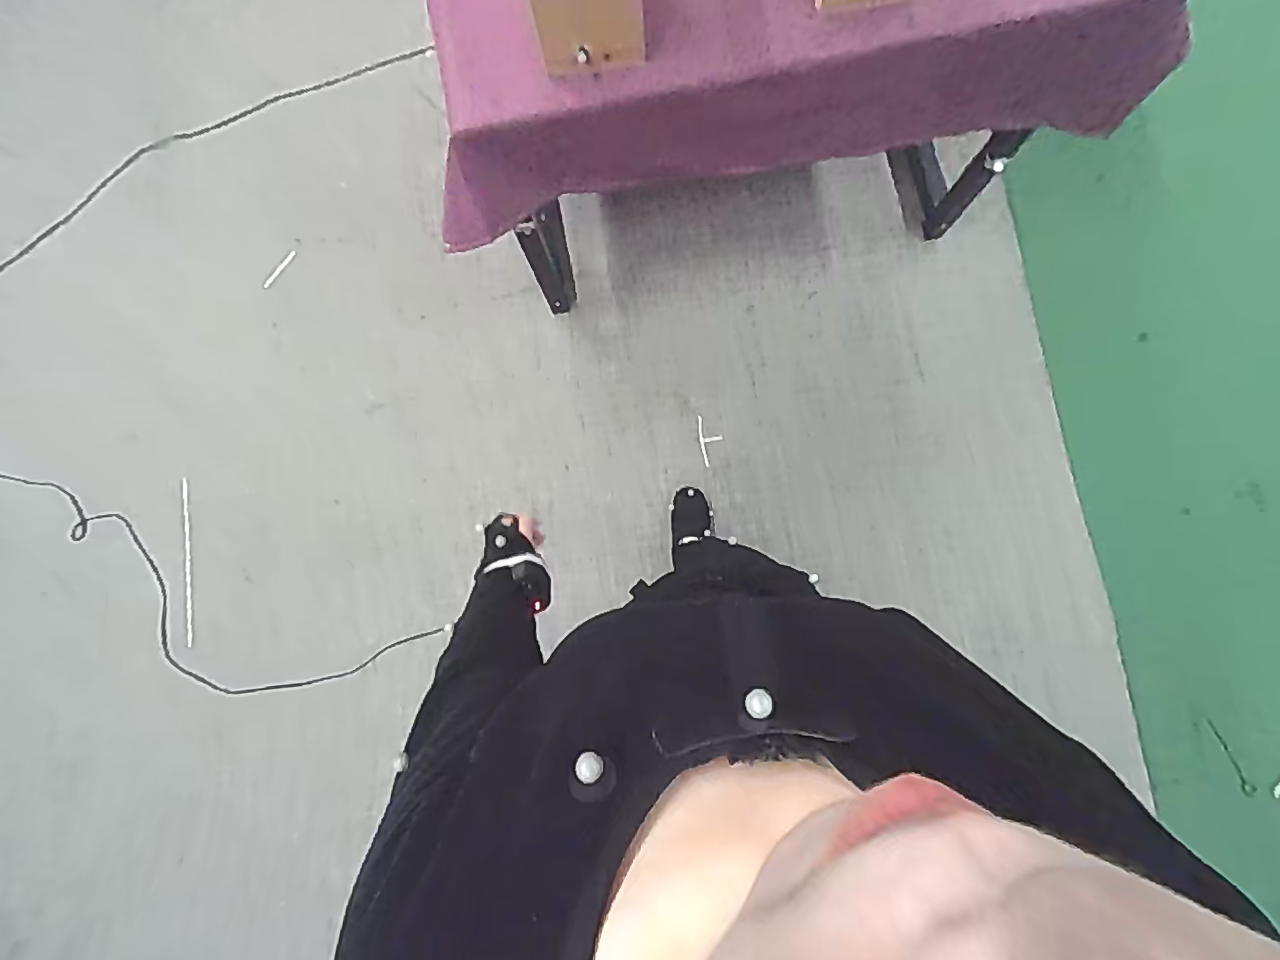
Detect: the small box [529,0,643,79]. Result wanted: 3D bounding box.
[{"bbox_3d":[-0.086,-0.768,0.829,0.168,0.176,0.179,-6,82,3],"label":"small box"}]
